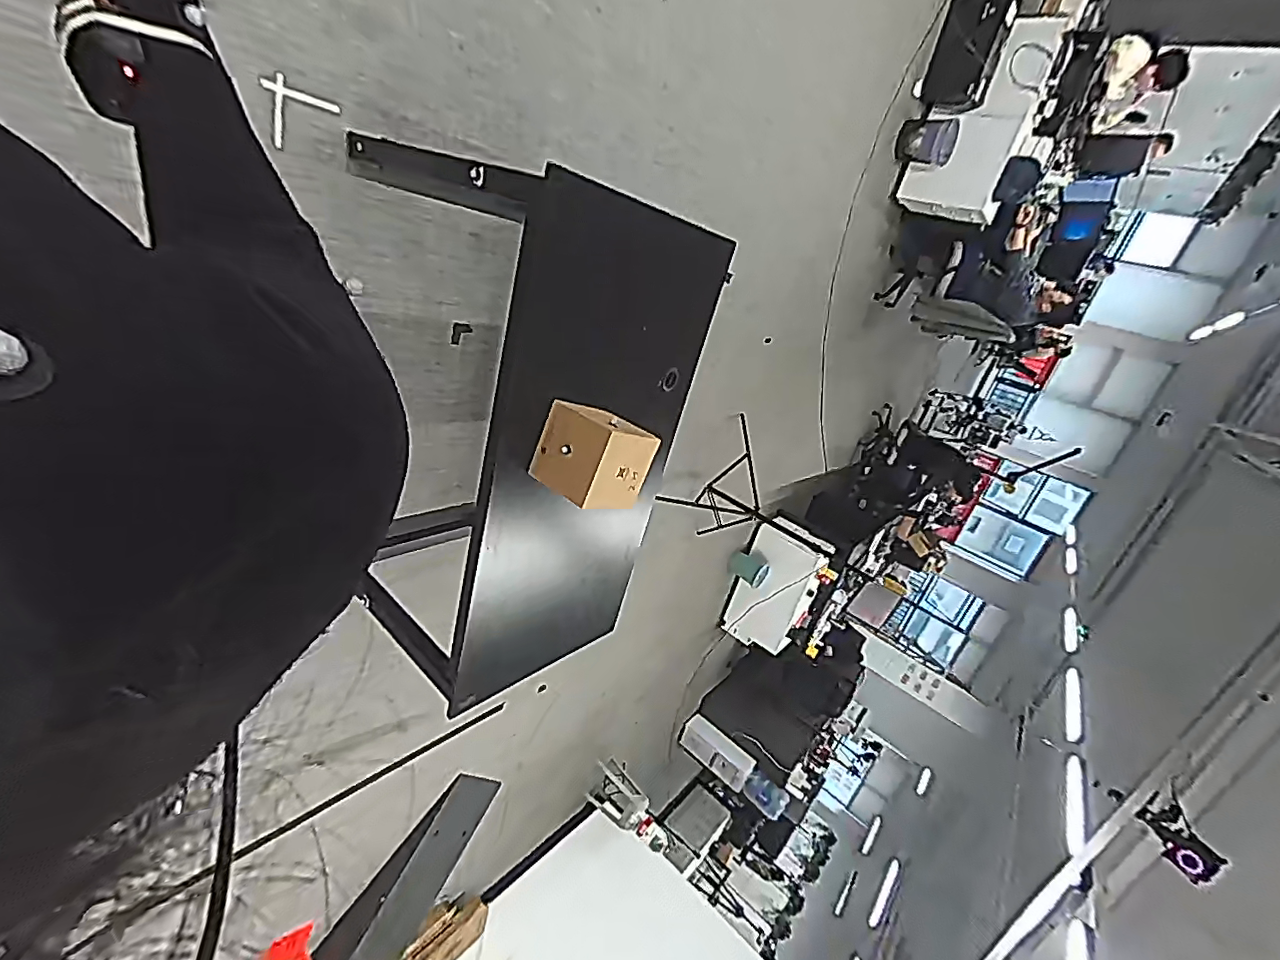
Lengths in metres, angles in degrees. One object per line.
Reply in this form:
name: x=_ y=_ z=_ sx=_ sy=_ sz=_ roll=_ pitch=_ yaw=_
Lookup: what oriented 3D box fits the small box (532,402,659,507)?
small box: x=-0.096 y=-0.054 z=1.133 sx=0.179 sy=0.176 sz=0.168 roll=3 pitch=114 yaw=-57
